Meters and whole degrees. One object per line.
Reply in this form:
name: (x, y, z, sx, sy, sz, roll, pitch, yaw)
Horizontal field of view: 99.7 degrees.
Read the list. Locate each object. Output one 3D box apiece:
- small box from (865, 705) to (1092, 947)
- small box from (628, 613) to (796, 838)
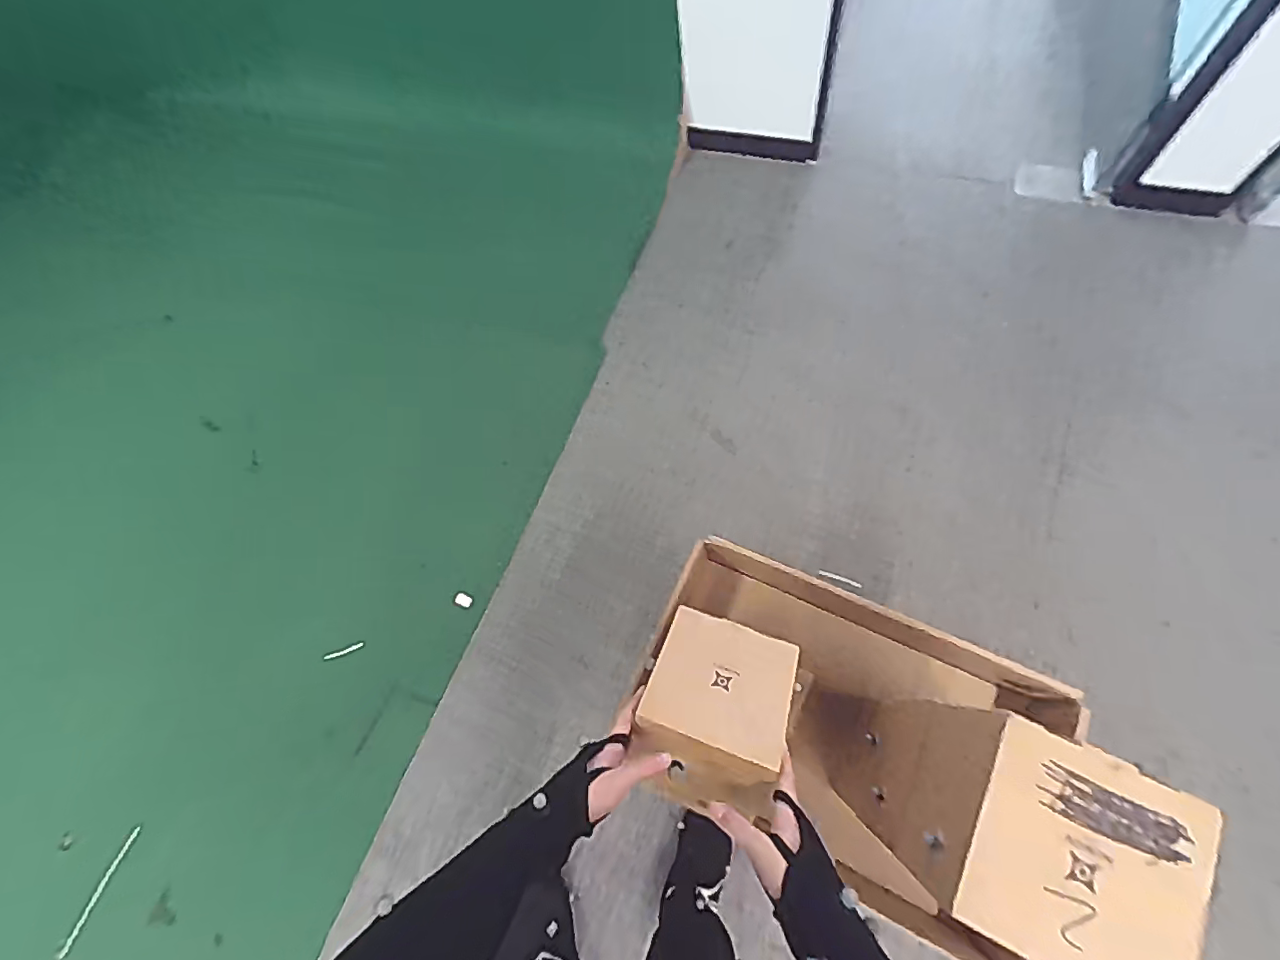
small box: (0.394, 0.398, 0.663, 0.168, 0.176, 0.179, 23, 74, 16)
small box: (0.089, 0.309, 0.690, 0.168, 0.176, 0.179, 16, 34, 12)
